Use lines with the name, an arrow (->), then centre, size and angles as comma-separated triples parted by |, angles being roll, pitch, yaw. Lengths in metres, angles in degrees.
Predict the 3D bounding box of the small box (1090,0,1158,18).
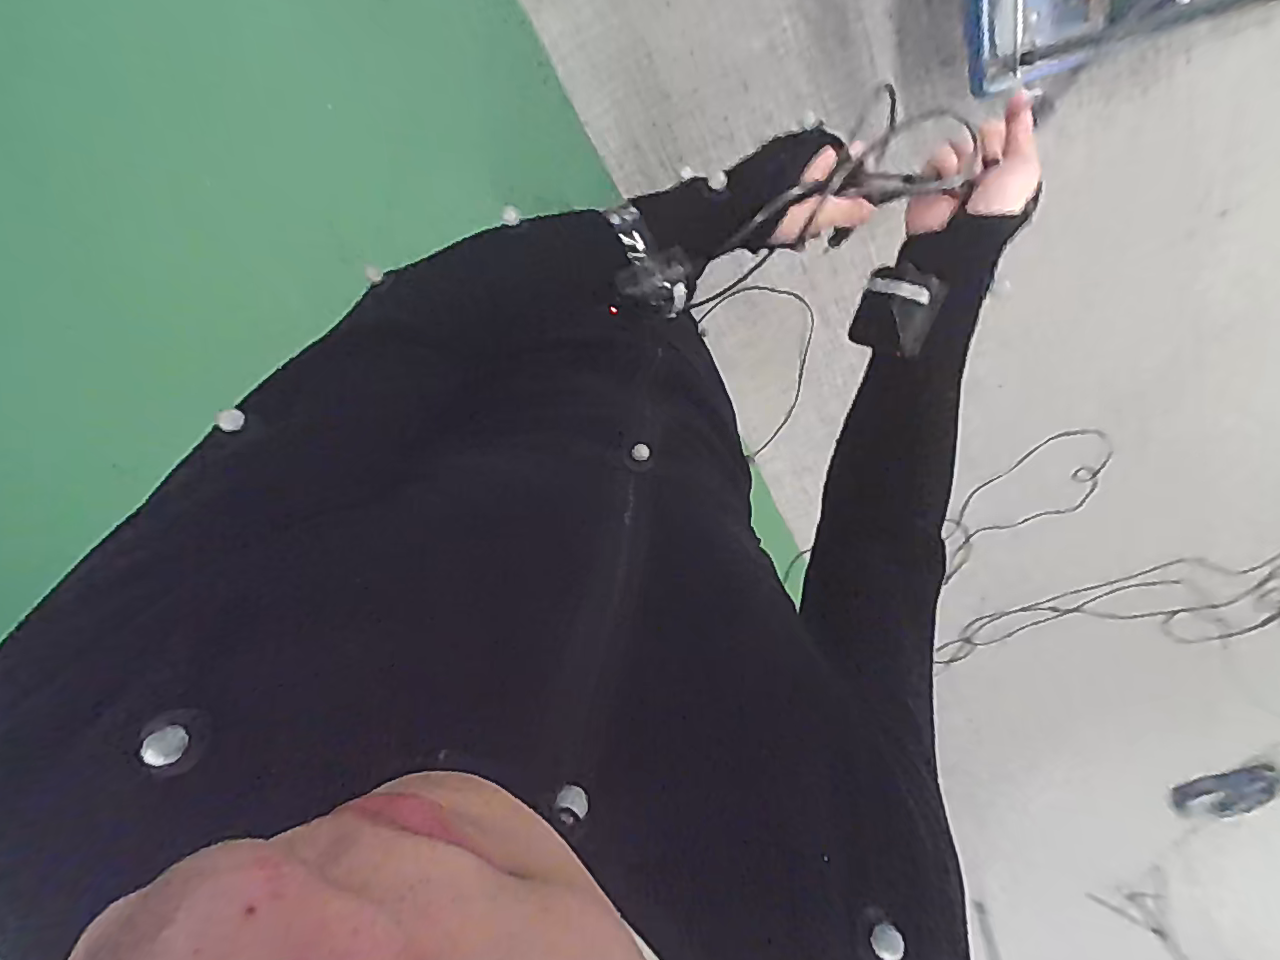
small box -> 0.976, -0.980, 0.976 | 0.179, 0.176, 0.168 | -15, 118, 5
